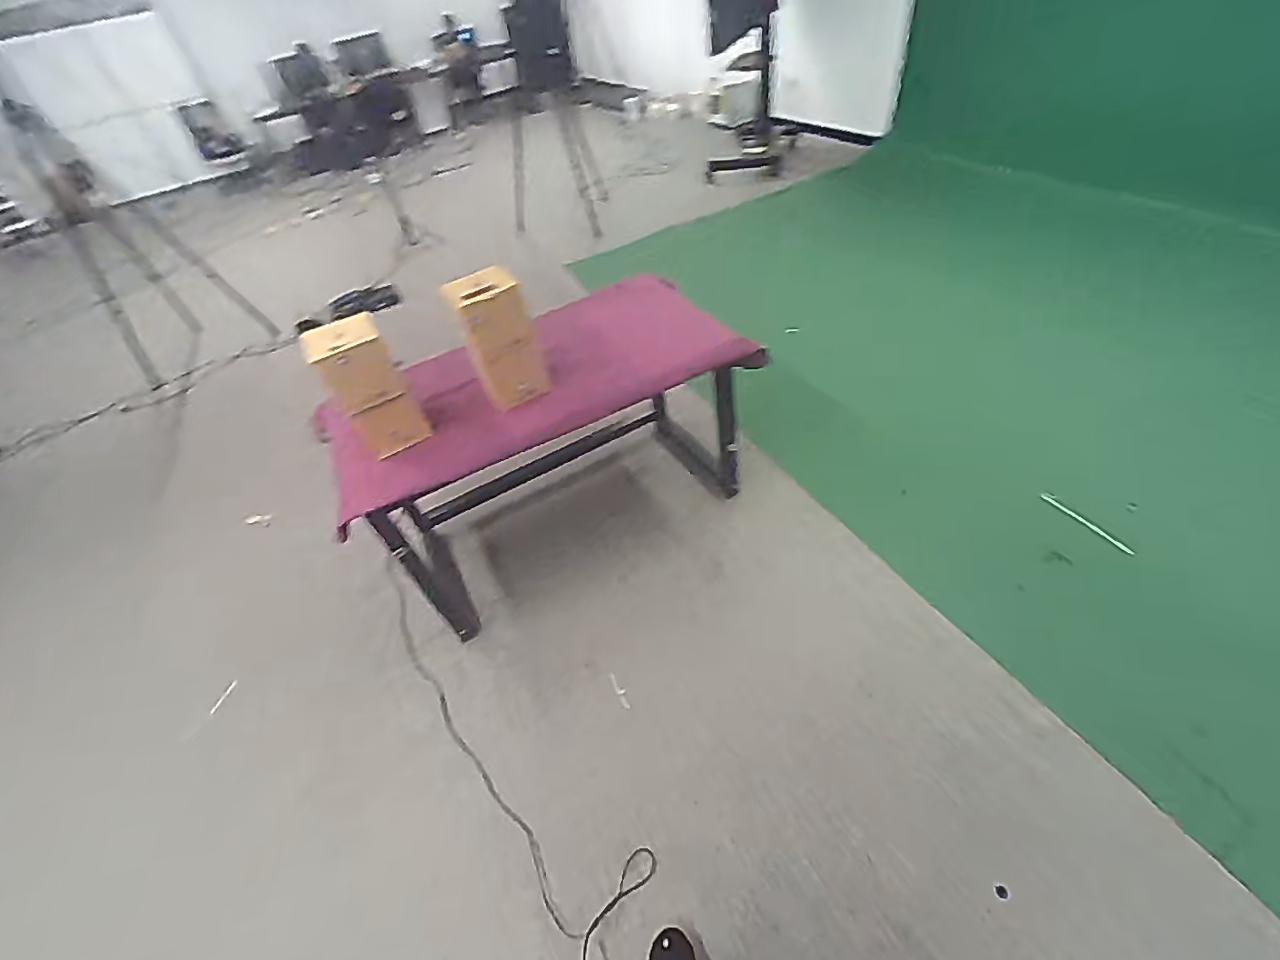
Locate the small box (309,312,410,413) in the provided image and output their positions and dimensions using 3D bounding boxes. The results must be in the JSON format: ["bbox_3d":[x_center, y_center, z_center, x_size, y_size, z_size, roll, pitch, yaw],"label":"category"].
[{"bbox_3d":[-0.724,-0.303,1.400,0.168,0.176,0.179,-28,47,-15],"label":"small box"}]

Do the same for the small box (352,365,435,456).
[{"bbox_3d":[-0.705,-0.197,1.525,0.168,0.176,0.179,-29,48,-17],"label":"small box"}]

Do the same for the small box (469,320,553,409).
[{"bbox_3d":[-0.376,-0.338,1.591,0.168,0.176,0.179,-28,47,-14],"label":"small box"}]
